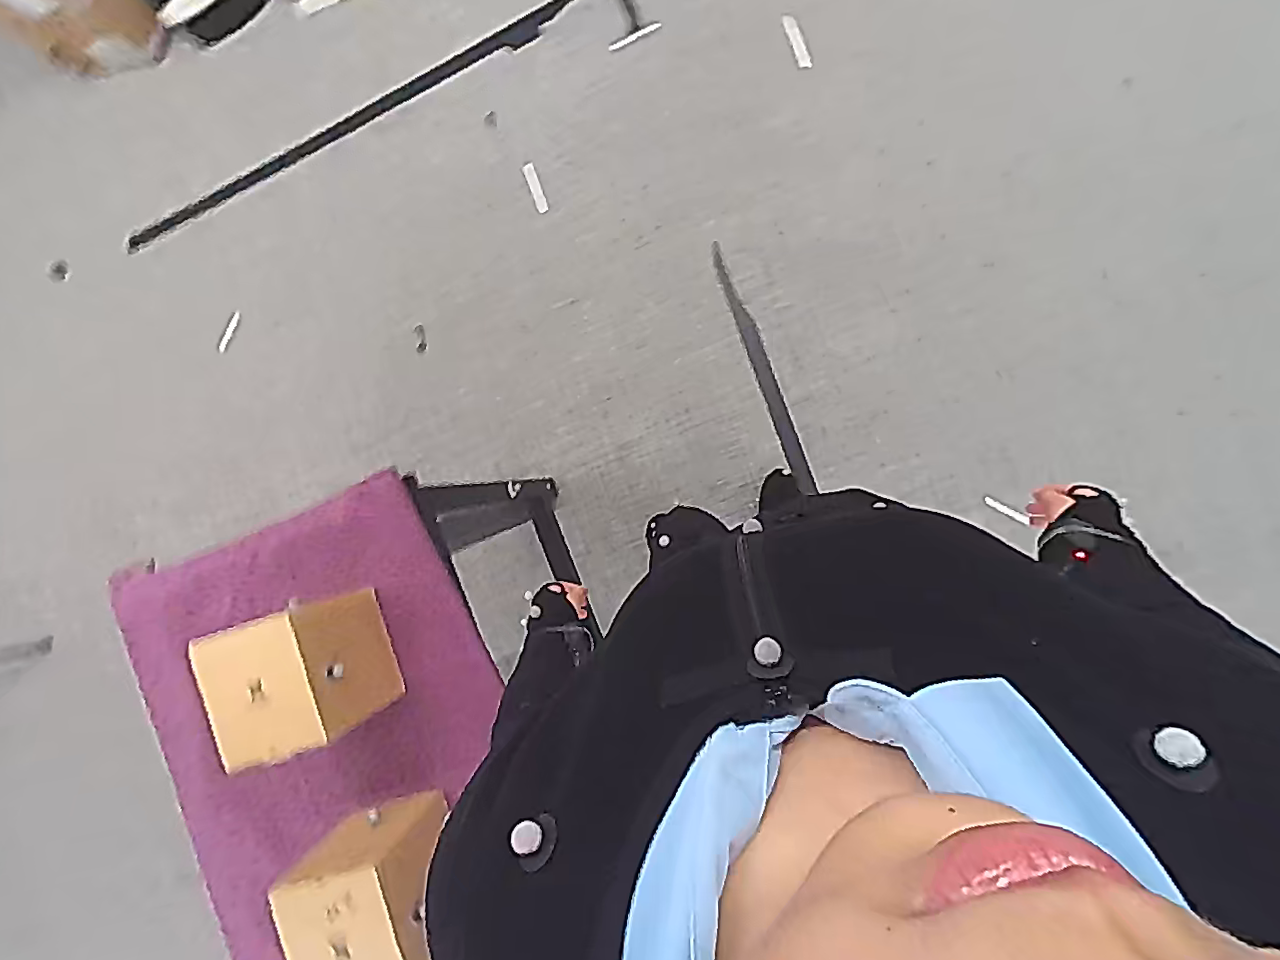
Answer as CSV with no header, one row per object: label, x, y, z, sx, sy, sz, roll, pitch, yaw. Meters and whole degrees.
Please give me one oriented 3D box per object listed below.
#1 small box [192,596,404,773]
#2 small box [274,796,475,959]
small box,-0.478,0.278,0.779,0.168,0.176,0.179,-19,89,10
small box,-0.359,0.592,0.764,0.168,0.176,0.179,-20,87,8
